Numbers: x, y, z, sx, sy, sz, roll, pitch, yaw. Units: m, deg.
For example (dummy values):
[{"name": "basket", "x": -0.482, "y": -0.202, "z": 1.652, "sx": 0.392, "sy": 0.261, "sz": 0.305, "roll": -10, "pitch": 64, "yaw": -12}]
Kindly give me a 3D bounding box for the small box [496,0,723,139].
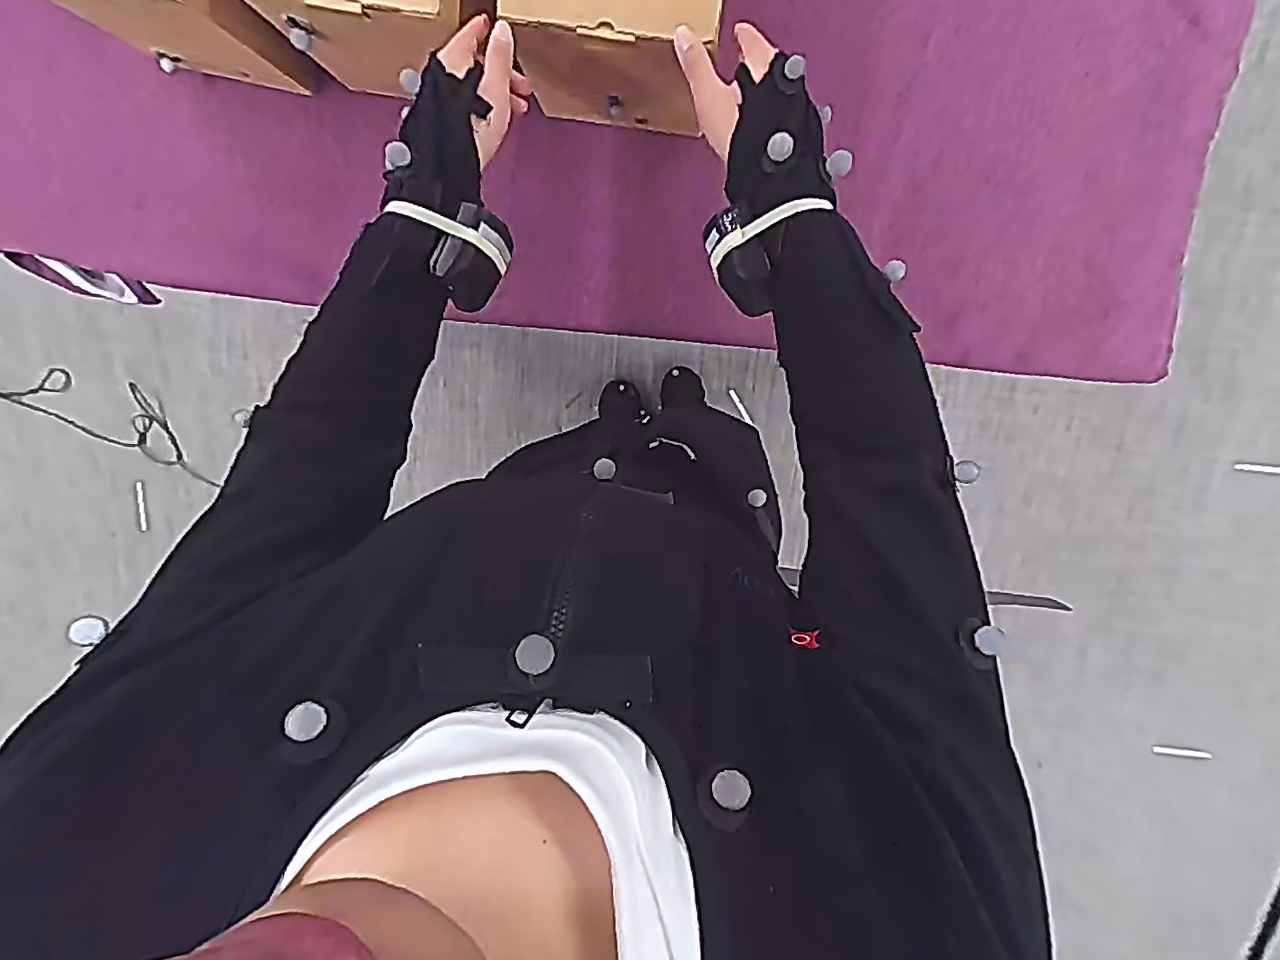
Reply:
[{"name": "small box", "x": -0.010, "y": -0.429, "z": 0.460, "sx": 0.168, "sy": 0.176, "sz": 0.179, "roll": 9, "pitch": 103, "yaw": 1}]
